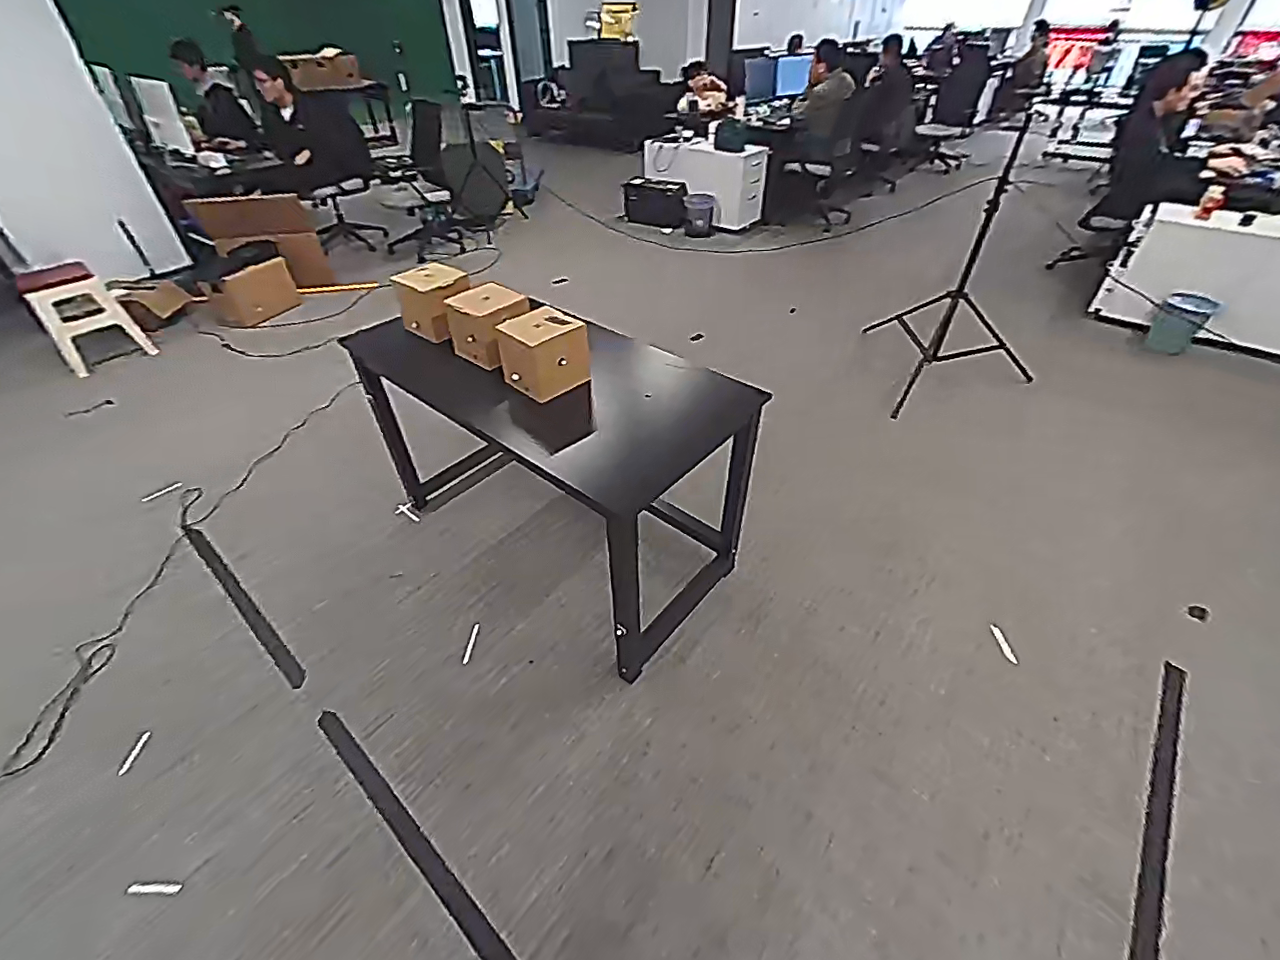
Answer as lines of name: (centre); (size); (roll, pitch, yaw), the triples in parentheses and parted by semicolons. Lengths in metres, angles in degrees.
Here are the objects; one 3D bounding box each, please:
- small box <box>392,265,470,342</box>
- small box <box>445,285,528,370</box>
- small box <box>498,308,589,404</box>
small box: (-0.639, -0.554, 1.705); (0.179, 0.176, 0.168); (28, 48, 27)
small box: (-0.433, -0.445, 1.583); (0.168, 0.176, 0.179); (29, 48, 28)
small box: (-0.252, -0.334, 1.452); (0.168, 0.176, 0.179); (33, 52, 32)
